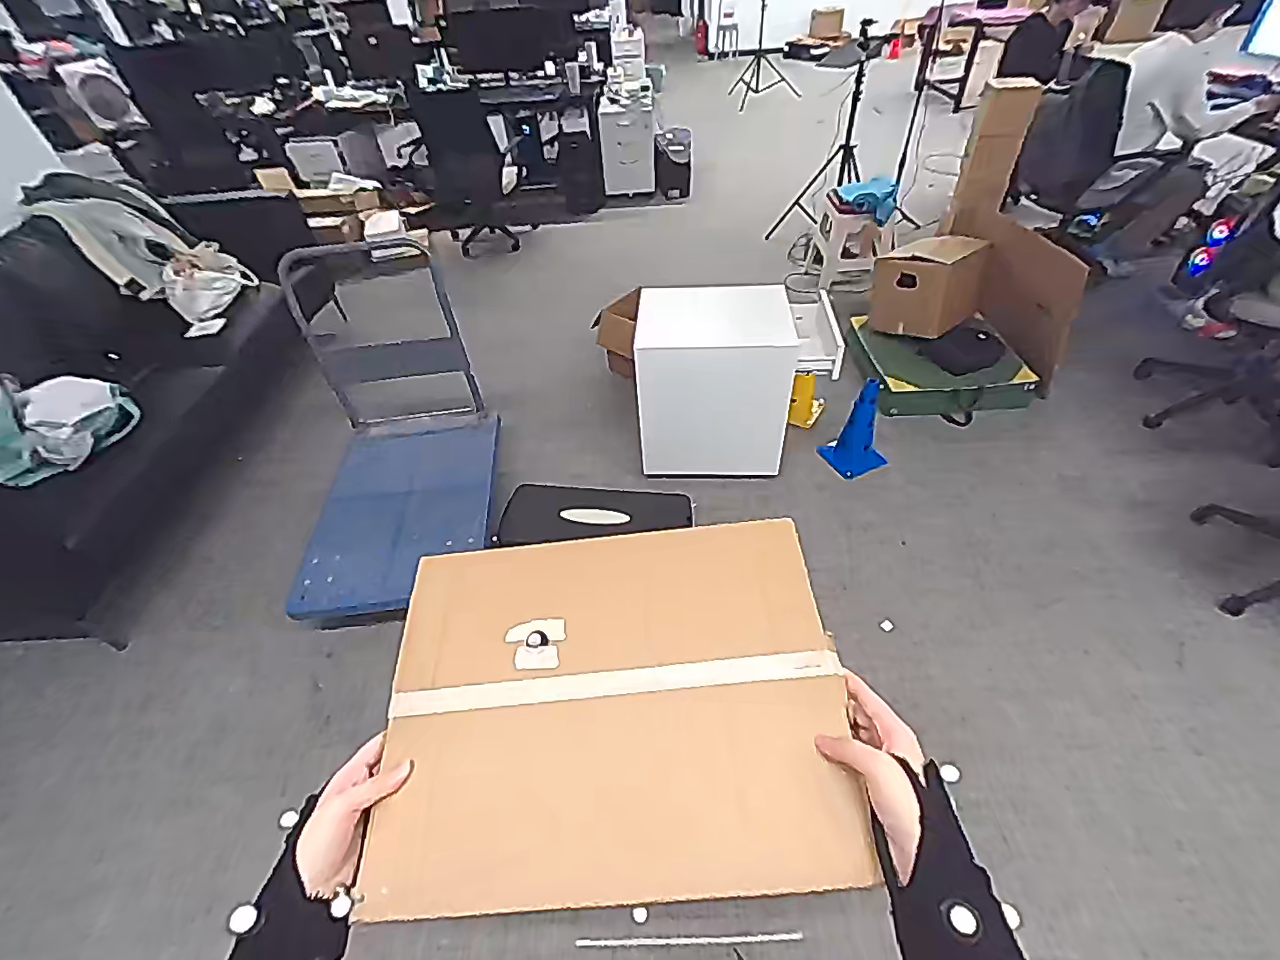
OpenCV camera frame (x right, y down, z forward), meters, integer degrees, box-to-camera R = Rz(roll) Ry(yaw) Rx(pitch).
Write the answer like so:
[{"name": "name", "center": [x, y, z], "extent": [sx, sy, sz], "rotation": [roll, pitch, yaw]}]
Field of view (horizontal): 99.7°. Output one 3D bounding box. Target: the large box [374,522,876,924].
[{"name": "large box", "center": [-0.008, 0.280, 0.622], "extent": [0.408, 0.320, 0.320], "rotation": [-8, 53, 4]}]
